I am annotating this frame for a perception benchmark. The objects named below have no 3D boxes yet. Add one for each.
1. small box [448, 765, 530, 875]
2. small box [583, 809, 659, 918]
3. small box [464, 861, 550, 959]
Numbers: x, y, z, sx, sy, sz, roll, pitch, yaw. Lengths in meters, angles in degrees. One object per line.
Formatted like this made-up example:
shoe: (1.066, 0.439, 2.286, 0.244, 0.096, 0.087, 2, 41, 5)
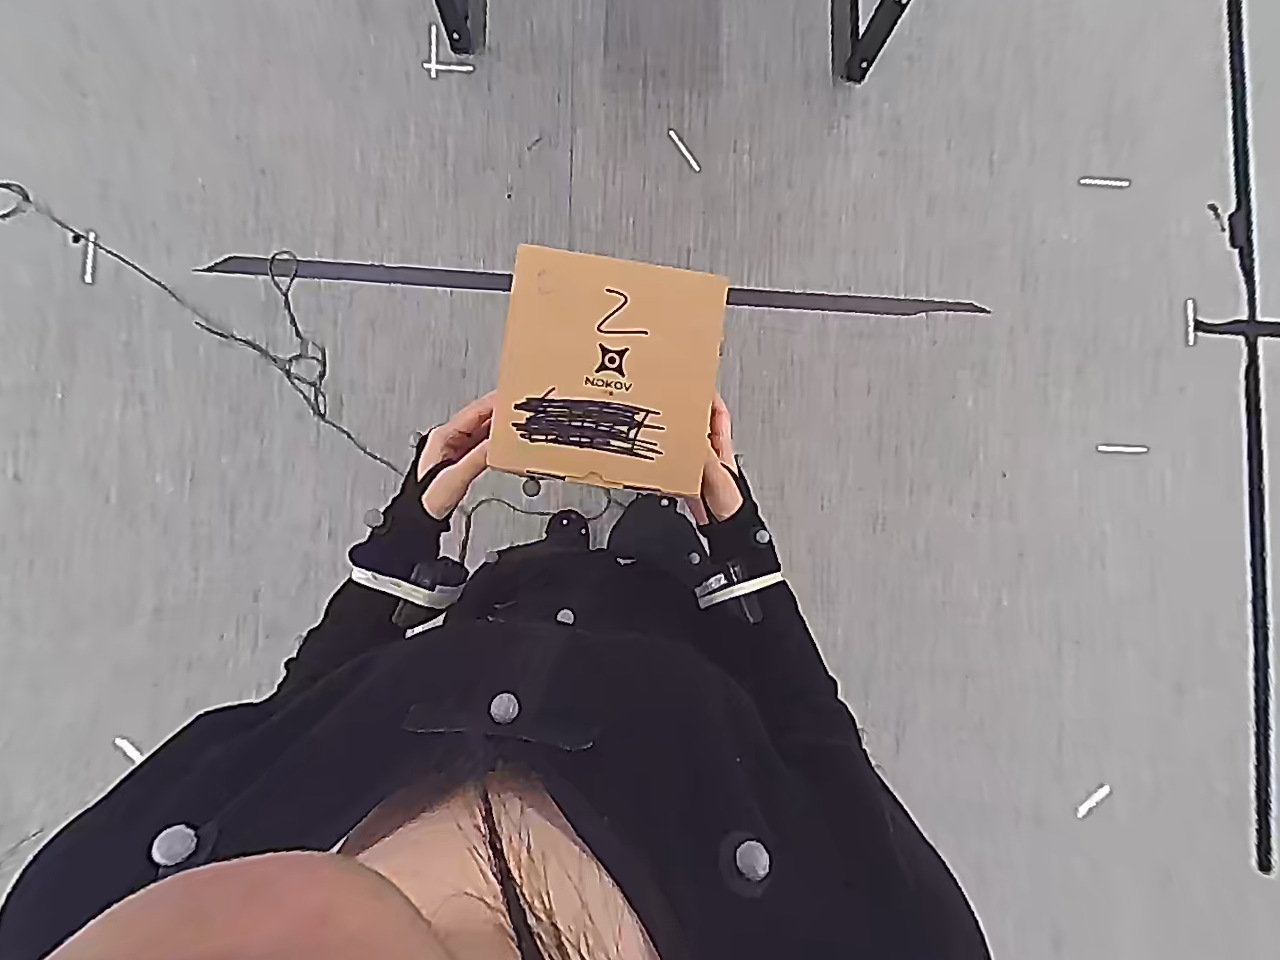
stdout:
small box: (-0.370, 0.834, 1.347, 0.168, 0.176, 0.179, -4, 88, -4)
small box: (-0.050, 0.959, 1.364, 0.179, 0.176, 0.168, 3, 87, -5)
small box: (-0.324, 1.090, 1.342, 0.179, 0.176, 0.168, -5, 89, -5)
